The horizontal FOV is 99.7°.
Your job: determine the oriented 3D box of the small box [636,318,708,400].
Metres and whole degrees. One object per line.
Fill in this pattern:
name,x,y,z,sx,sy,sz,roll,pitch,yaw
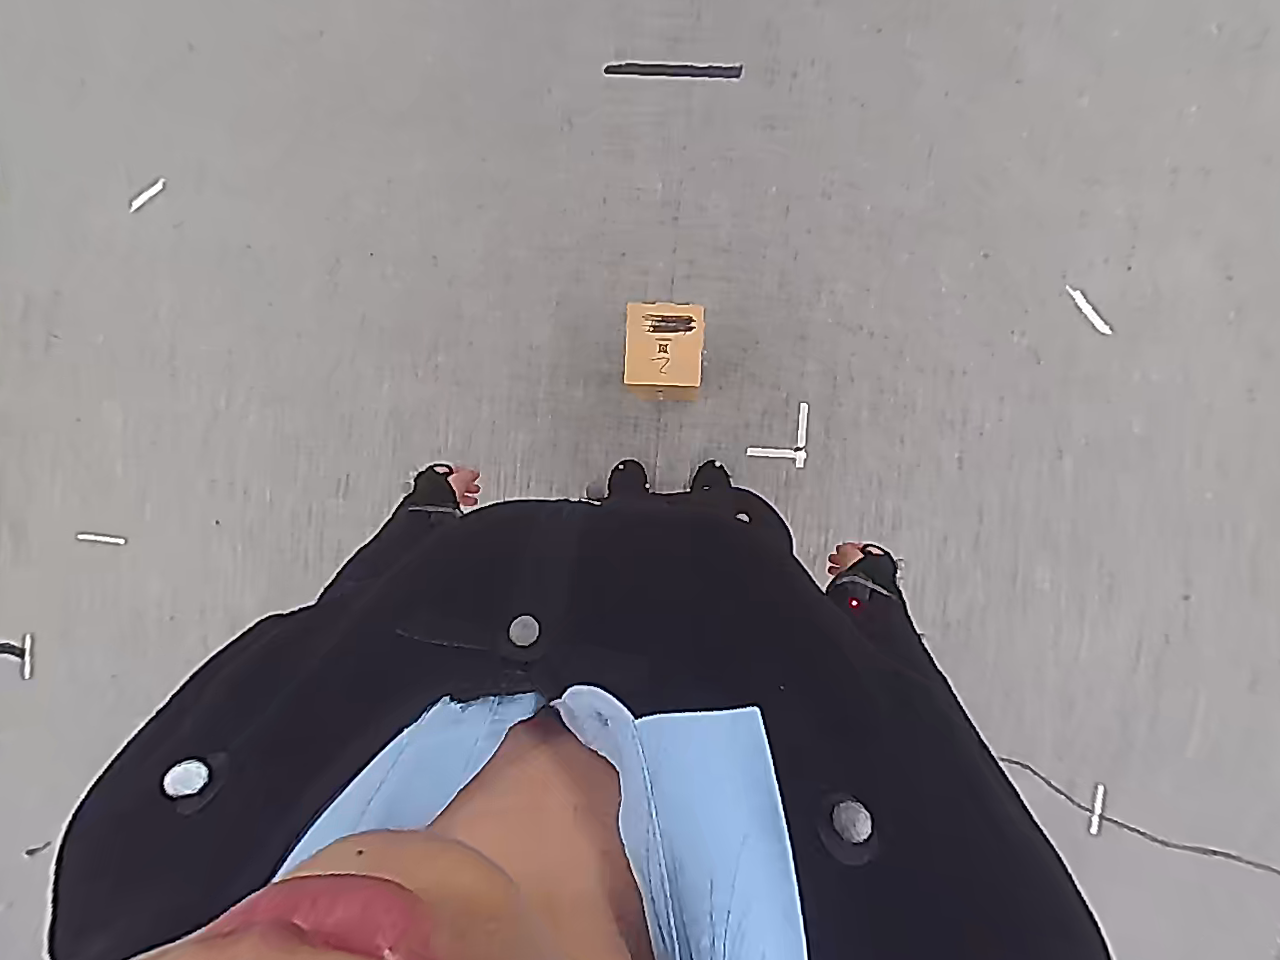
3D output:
small box,0.080,-0.306,1.394,0.168,0.176,0.179,4,93,3
